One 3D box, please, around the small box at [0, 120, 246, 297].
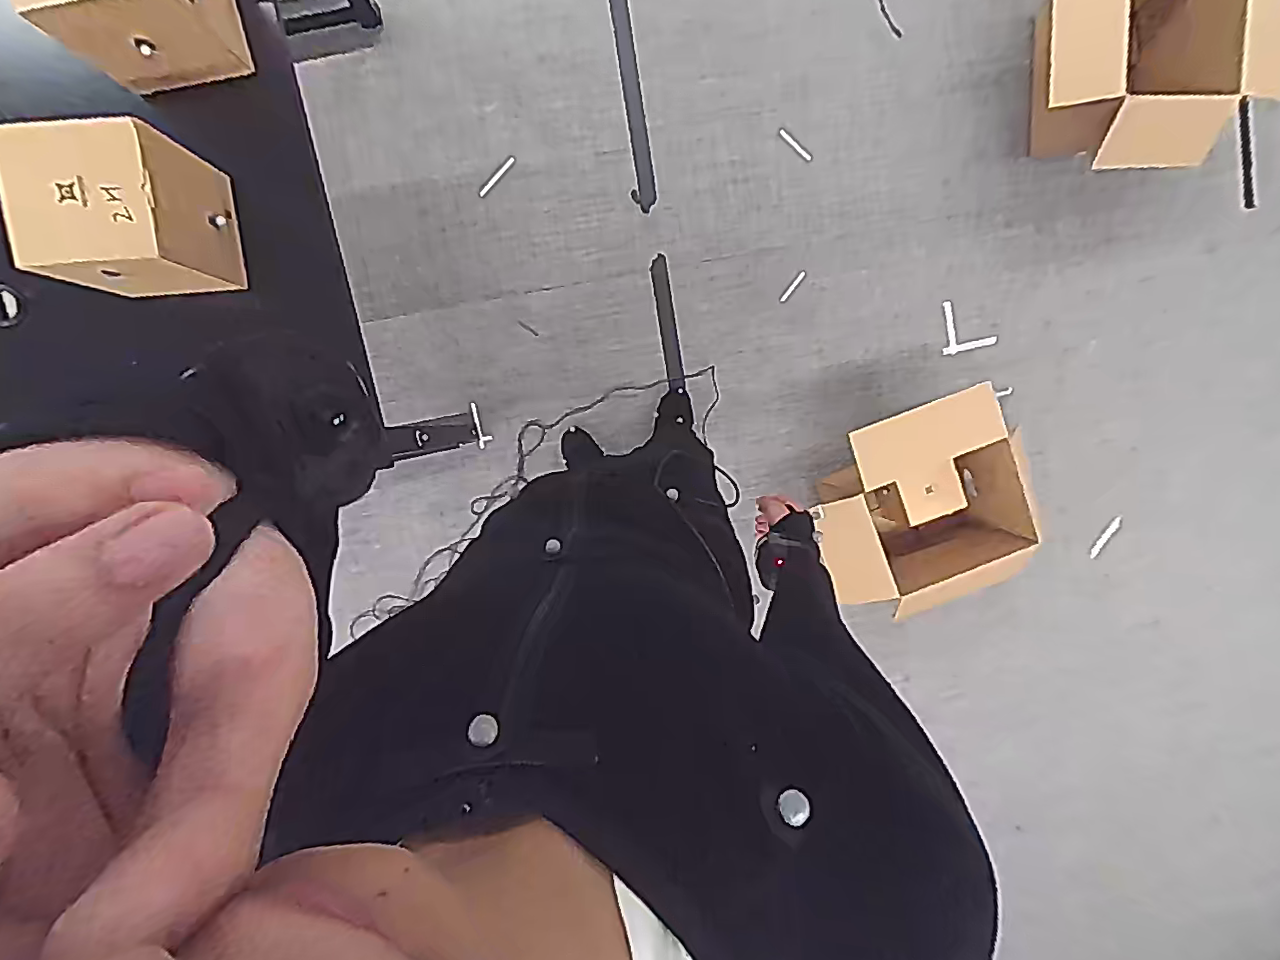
[{"bbox_3d":[-0.689,-0.354,0.735,0.179,0.176,0.168,-6,97,-3],"label":"small box"}]
